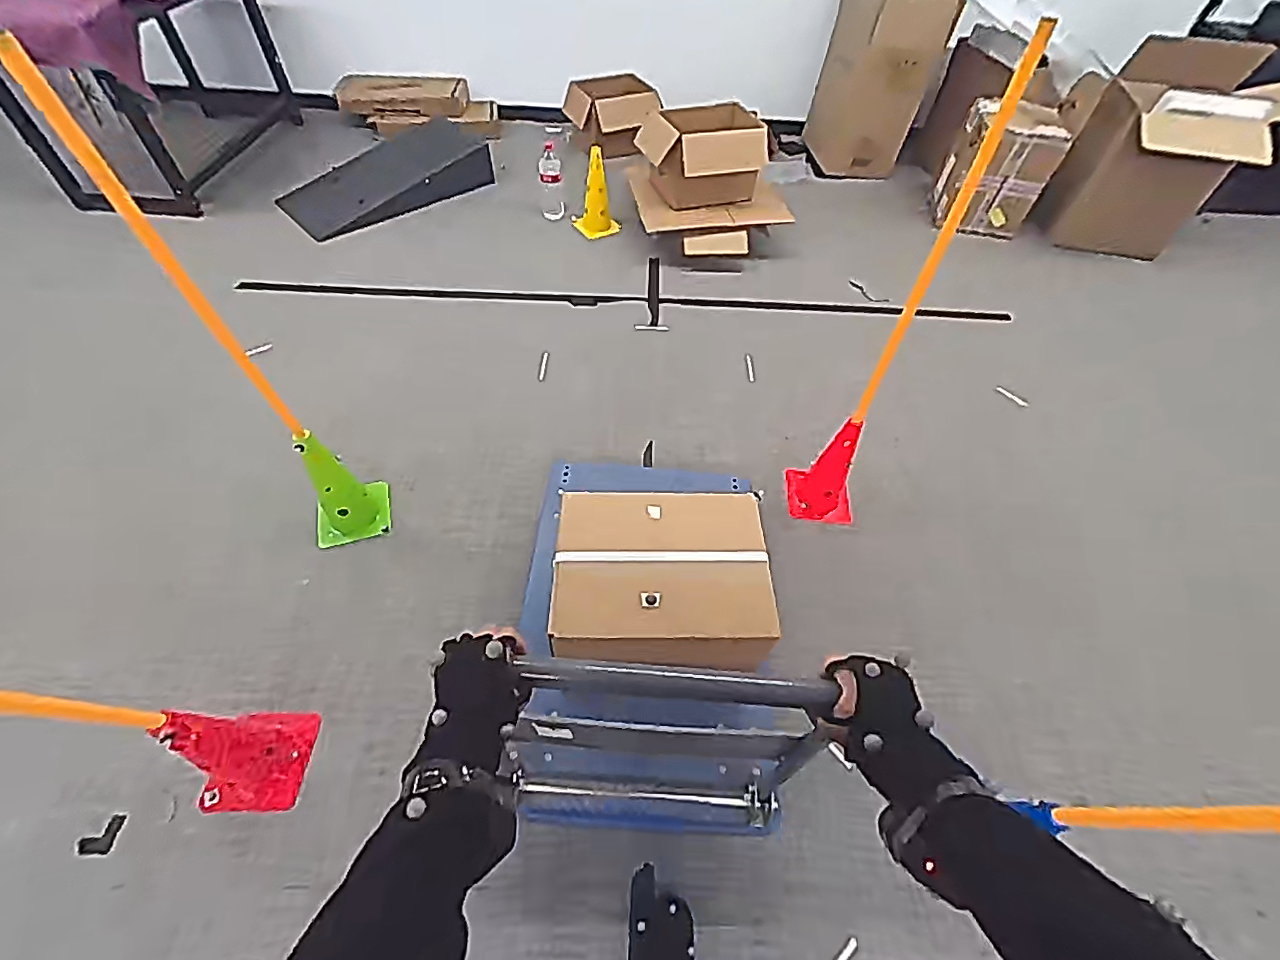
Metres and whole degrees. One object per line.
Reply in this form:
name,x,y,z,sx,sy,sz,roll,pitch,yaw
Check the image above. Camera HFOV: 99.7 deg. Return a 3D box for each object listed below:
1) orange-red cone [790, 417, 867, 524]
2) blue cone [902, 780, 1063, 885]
orange-red cone,0.592,-0.054,1.604,0.199,0.360,0.198,8,53,2
blue cone,0.705,0.676,1.071,0.193,0.380,0.192,-1,52,-4
